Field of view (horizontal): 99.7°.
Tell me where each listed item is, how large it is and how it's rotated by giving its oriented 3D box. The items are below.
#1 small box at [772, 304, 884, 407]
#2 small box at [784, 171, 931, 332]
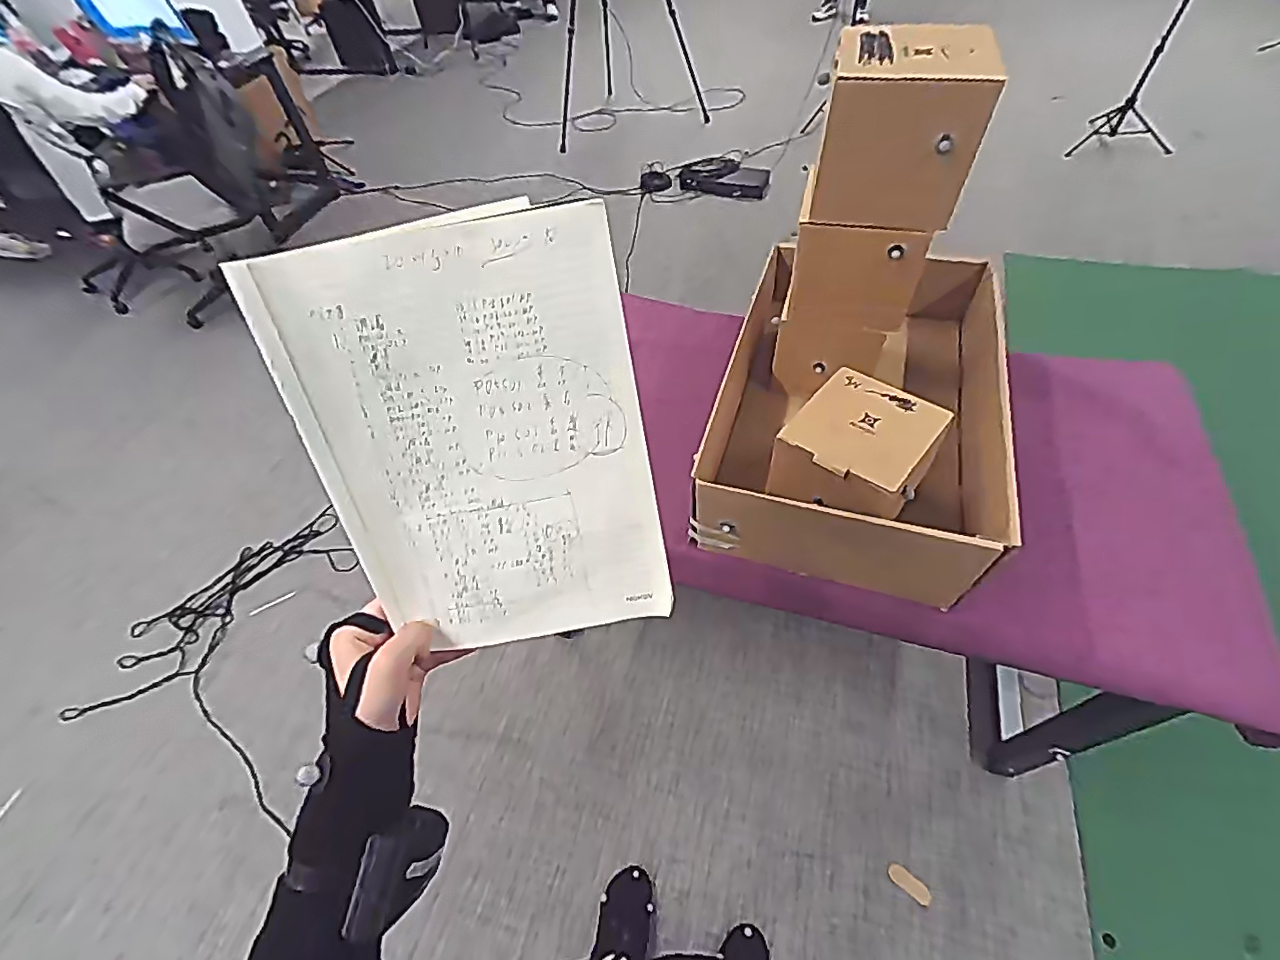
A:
[{"bbox_3d":[0.334,-0.254,0.959,0.168,0.176,0.179,13,57,15],"label":"small box"},{"bbox_3d":[0.324,-0.346,0.827,0.179,0.176,0.168,10,56,13],"label":"small box"}]
